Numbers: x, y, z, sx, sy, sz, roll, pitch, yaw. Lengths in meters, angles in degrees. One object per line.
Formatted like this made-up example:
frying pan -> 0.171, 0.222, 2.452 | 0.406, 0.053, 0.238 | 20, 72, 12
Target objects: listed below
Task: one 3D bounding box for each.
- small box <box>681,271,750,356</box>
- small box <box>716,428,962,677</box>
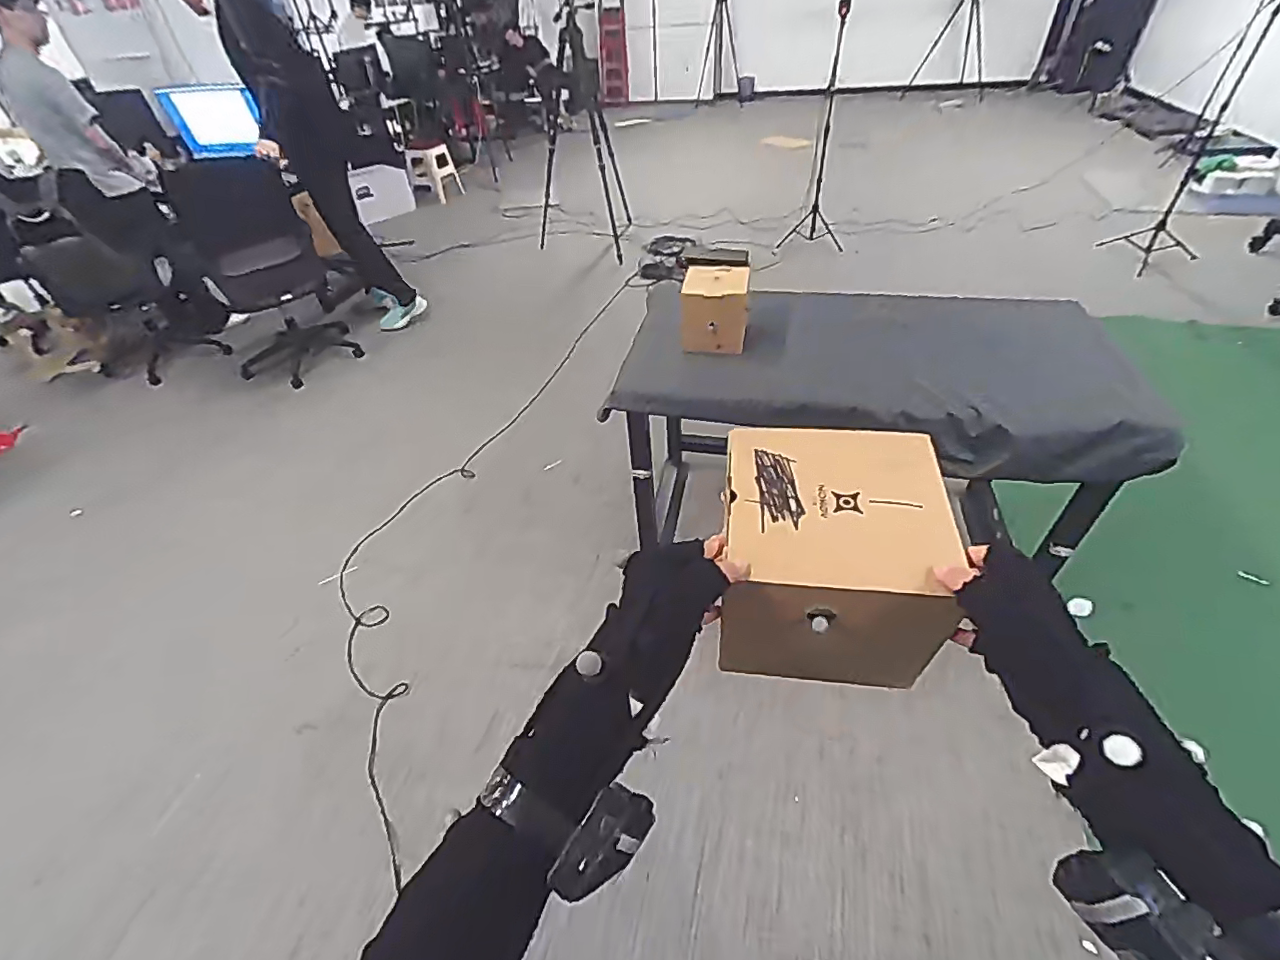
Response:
small box -> 0.207, -0.452, 1.467 | 0.168, 0.176, 0.179 | 5, 44, 11
small box -> 0.163, 0.069, 0.506 | 0.179, 0.176, 0.168 | 3, 49, 9
